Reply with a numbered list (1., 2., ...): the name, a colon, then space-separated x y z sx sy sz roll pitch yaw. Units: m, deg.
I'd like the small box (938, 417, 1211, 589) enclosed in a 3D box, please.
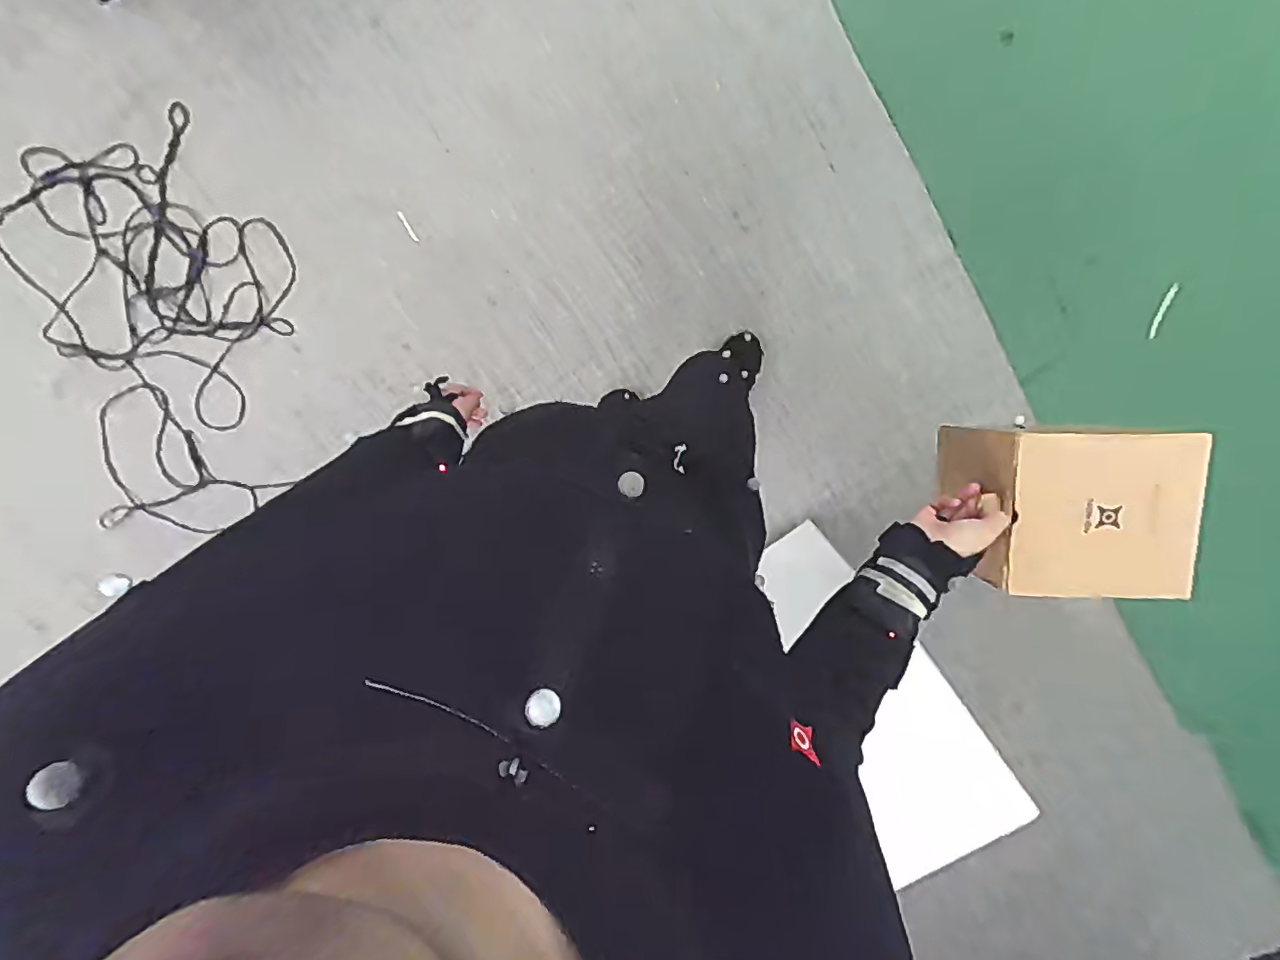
1. small box: 0.458 0.016 0.603 0.179 0.176 0.168 -2 98 4
